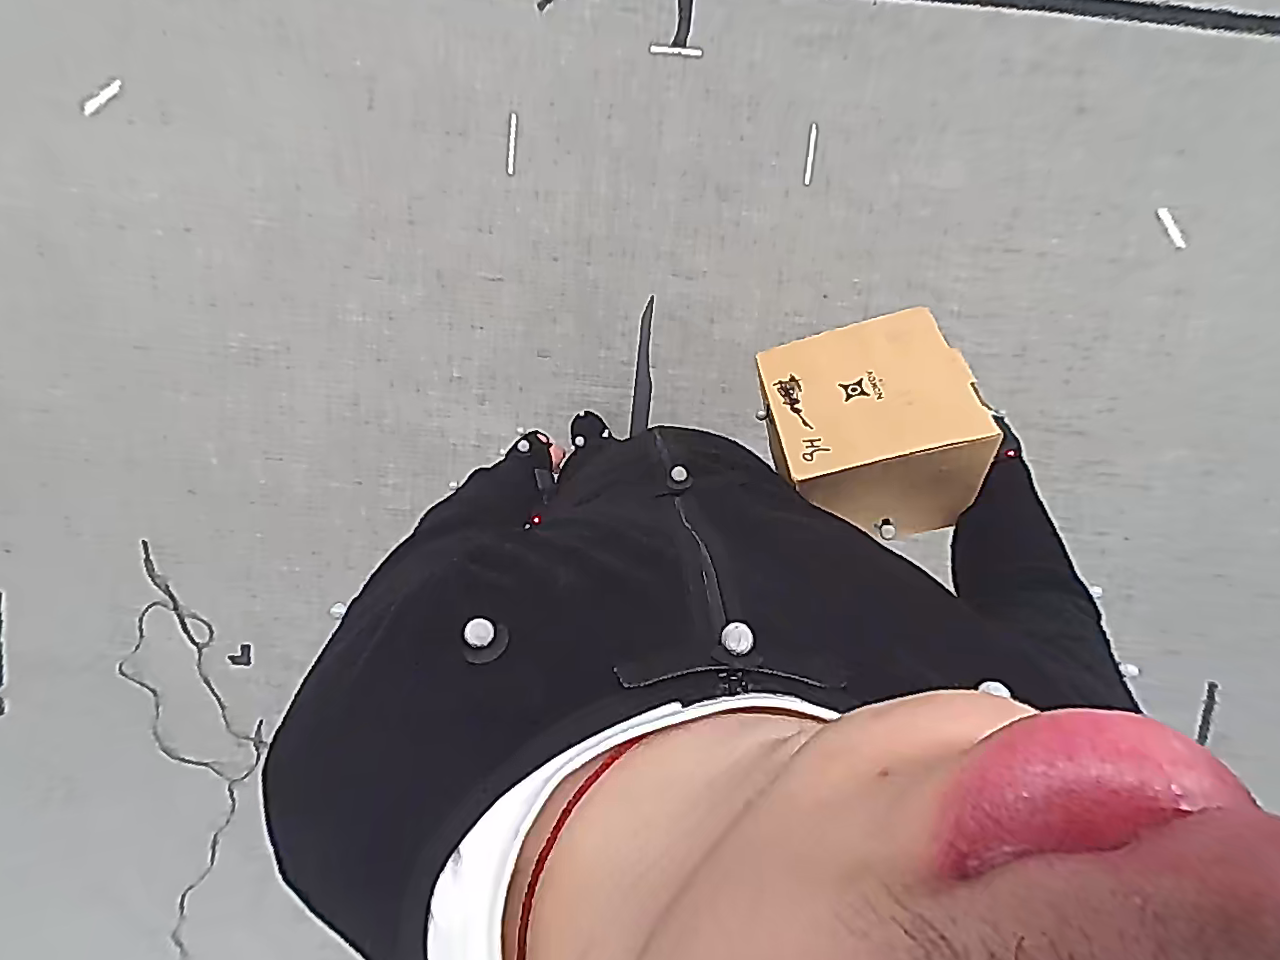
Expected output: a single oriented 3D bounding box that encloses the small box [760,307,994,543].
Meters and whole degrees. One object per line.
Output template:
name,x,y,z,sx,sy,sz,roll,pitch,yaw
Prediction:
small box,0.239,-0.050,0.588,0.179,0.176,0.168,-14,55,11
